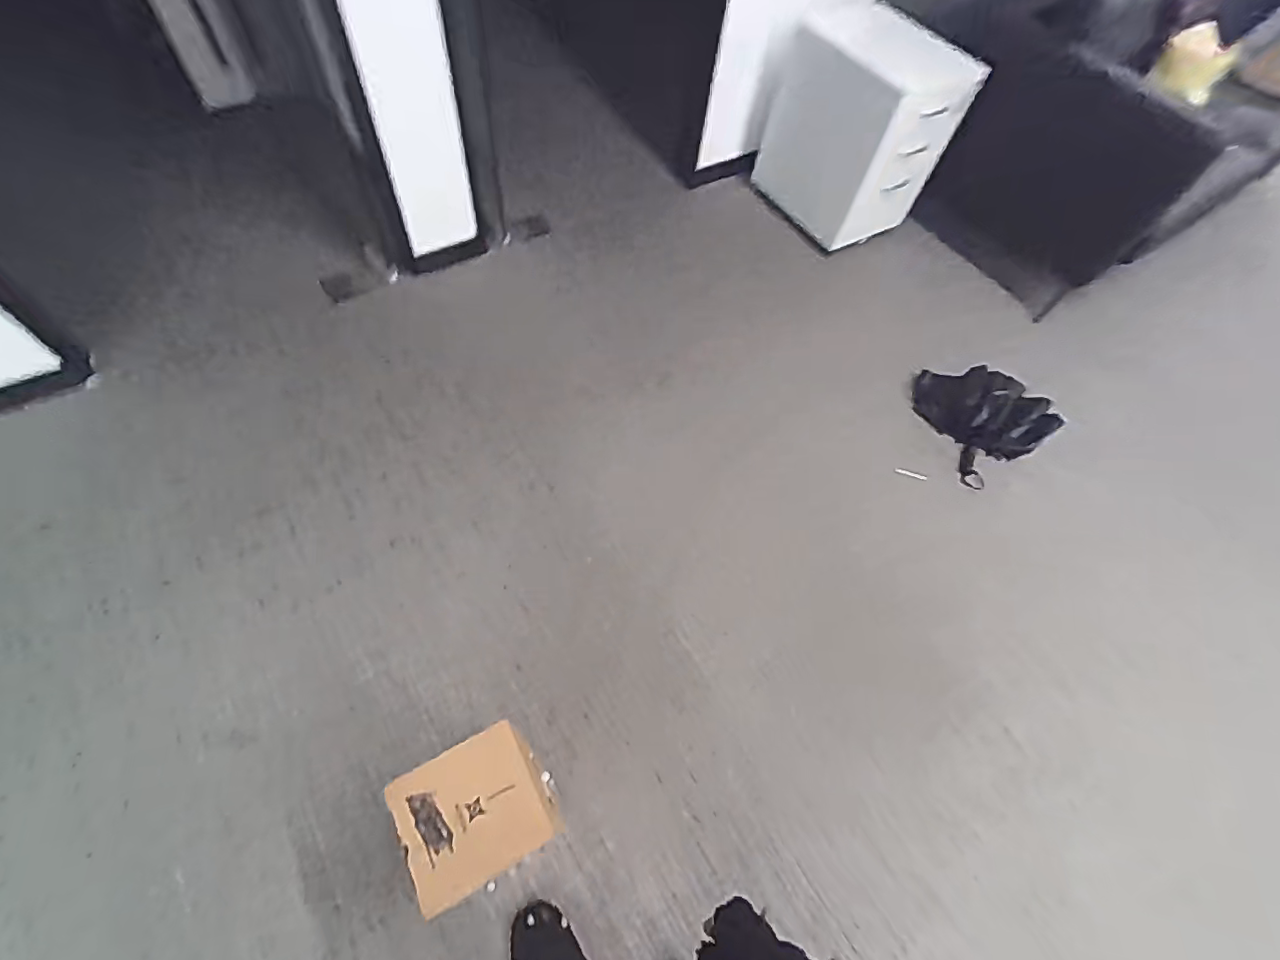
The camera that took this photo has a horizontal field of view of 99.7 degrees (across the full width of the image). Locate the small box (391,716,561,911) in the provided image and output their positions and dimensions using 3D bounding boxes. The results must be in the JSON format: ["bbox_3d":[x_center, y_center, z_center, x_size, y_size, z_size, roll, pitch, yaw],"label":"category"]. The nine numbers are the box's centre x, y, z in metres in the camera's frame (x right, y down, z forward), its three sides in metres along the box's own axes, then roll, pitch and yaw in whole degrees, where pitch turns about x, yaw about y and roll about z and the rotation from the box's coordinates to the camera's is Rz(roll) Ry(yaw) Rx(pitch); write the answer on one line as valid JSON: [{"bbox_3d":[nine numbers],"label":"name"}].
[{"bbox_3d":[-0.226,0.473,0.784,0.179,0.176,0.168,-25,65,-18],"label":"small box"}]
